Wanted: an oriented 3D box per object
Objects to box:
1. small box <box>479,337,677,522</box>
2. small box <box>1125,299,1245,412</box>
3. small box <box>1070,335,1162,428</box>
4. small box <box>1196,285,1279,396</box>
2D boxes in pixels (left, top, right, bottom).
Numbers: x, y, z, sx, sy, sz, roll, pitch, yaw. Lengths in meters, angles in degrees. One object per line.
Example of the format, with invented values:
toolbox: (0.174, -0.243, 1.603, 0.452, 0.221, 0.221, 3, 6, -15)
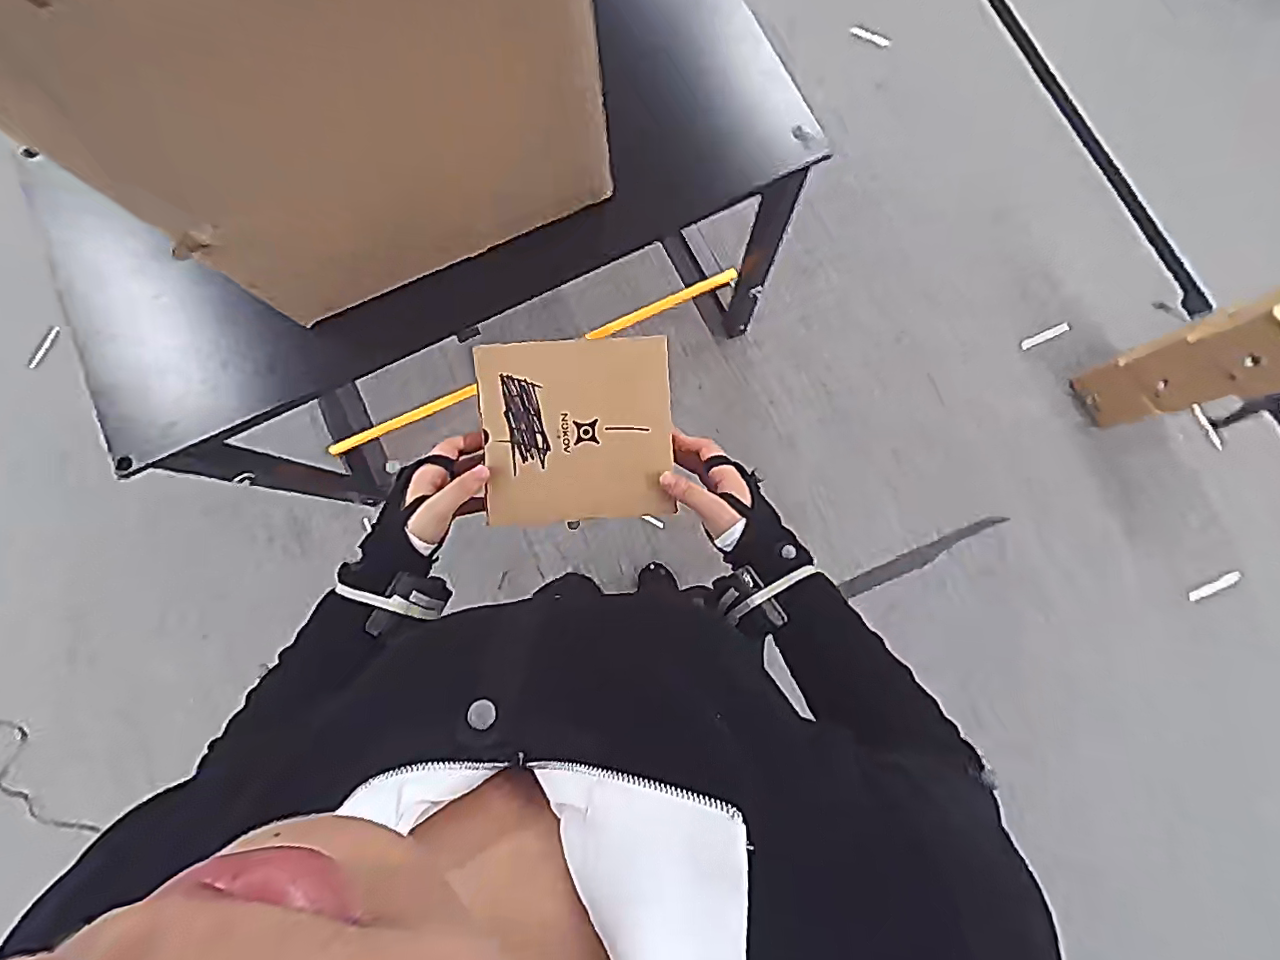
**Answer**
small box: (-0.058, -0.050, 0.568, 0.179, 0.176, 0.168, -3, 95, -3)
small box: (1.332, -0.288, 1.284, 0.179, 0.176, 0.168, -33, 81, -3)
small box: (1.323, -0.261, 1.447, 0.179, 0.176, 0.168, -28, 81, -1)
small box: (1.329, -0.300, 1.120, 0.179, 0.176, 0.168, -35, 82, -3)
